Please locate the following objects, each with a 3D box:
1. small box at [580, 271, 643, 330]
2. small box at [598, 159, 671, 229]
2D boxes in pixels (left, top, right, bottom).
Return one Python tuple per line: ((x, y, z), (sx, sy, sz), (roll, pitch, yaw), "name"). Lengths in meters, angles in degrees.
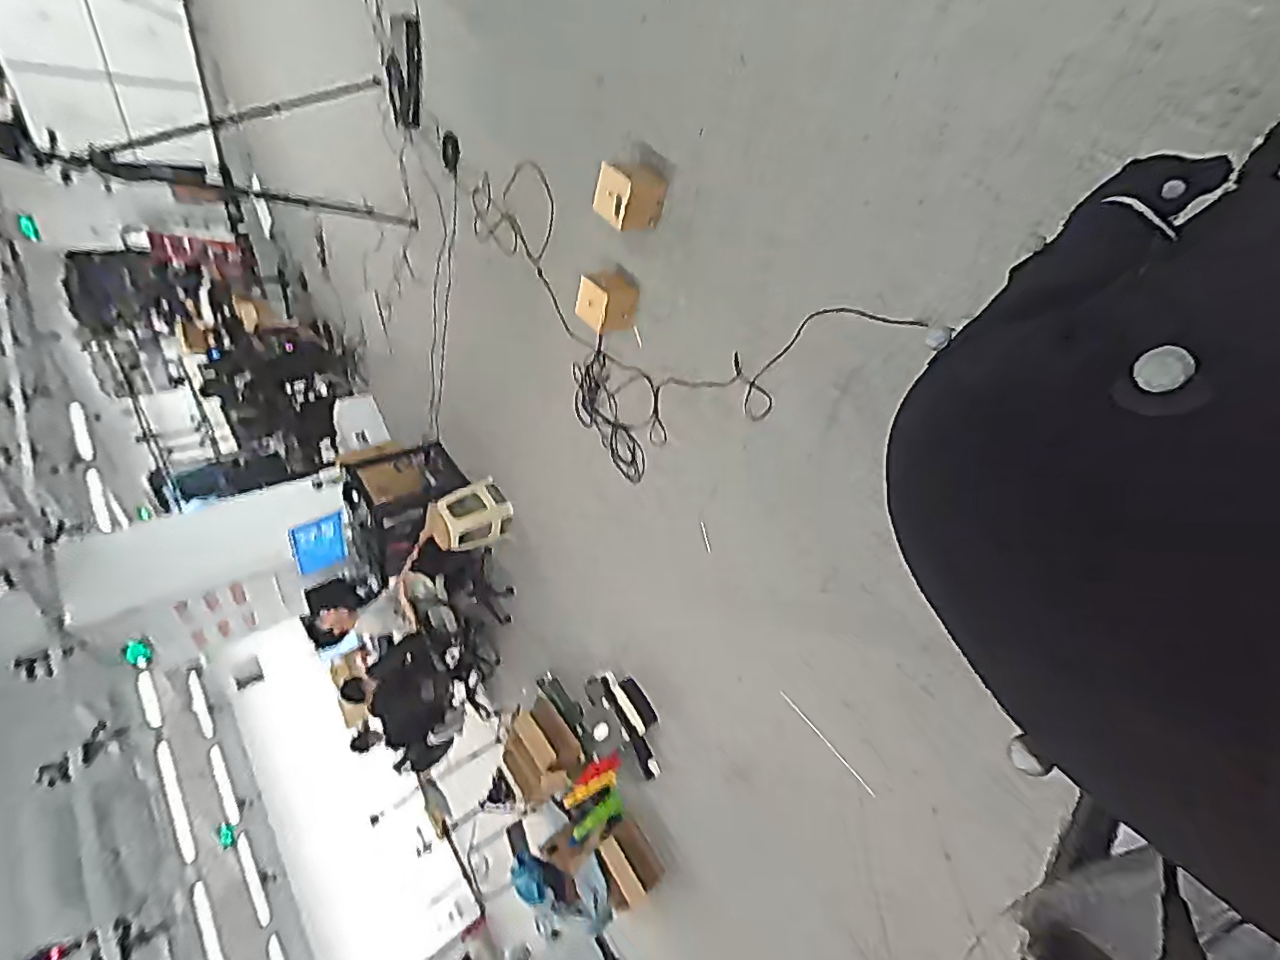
((-0.116, -0.732, 2.191), (0.179, 0.176, 0.168), (46, 138, 27), "small box")
((-0.018, -1.019, 1.926), (0.179, 0.176, 0.168), (50, 140, 24), "small box")
